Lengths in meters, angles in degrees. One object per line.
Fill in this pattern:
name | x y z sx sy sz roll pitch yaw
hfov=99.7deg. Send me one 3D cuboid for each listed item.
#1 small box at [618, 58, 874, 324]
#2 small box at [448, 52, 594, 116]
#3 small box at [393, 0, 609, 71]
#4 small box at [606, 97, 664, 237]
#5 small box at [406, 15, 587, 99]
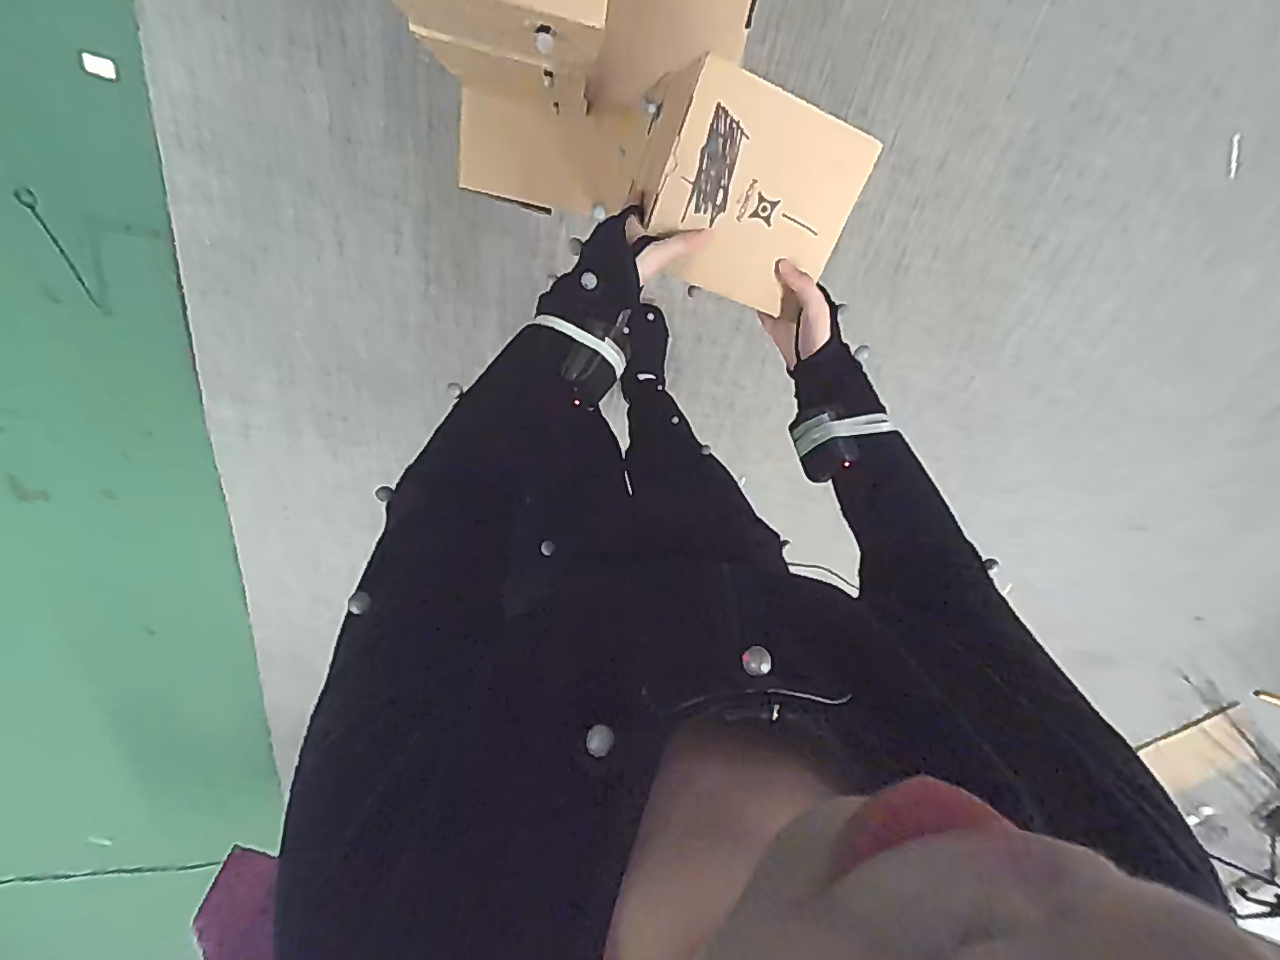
small box | 0.086 -0.281 0.549 0.179 0.176 0.168 15 116 -17
small box | -0.149 -0.604 0.720 0.179 0.176 0.168 6 116 -10
small box | -0.107 -0.457 0.431 0.179 0.176 0.168 8 115 -12
small box | 0.047 -0.449 0.830 0.168 0.176 0.179 11 116 -14
small box | -0.136 -0.531 0.576 0.179 0.176 0.168 6 116 -12
